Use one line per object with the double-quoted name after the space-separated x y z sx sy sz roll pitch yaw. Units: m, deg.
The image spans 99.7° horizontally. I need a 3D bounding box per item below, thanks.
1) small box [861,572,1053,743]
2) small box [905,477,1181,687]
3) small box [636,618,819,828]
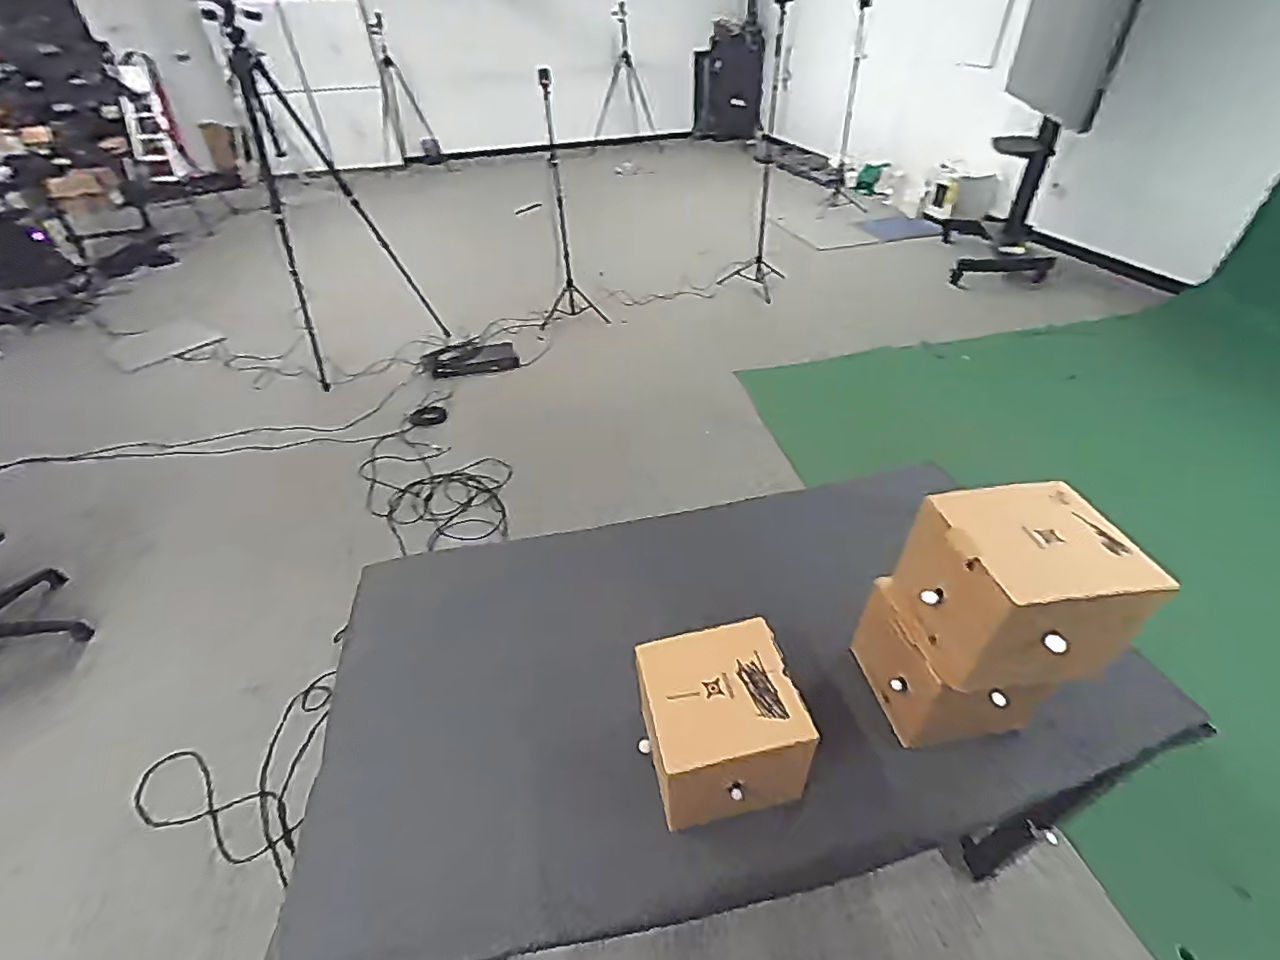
0.425 0.236 0.742 0.179 0.176 0.168 -7 40 -6 "small box"
0.433 0.119 0.625 0.179 0.176 0.168 -6 40 -3 "small box"
0.099 0.305 0.681 0.179 0.176 0.168 -11 39 -6 "small box"
